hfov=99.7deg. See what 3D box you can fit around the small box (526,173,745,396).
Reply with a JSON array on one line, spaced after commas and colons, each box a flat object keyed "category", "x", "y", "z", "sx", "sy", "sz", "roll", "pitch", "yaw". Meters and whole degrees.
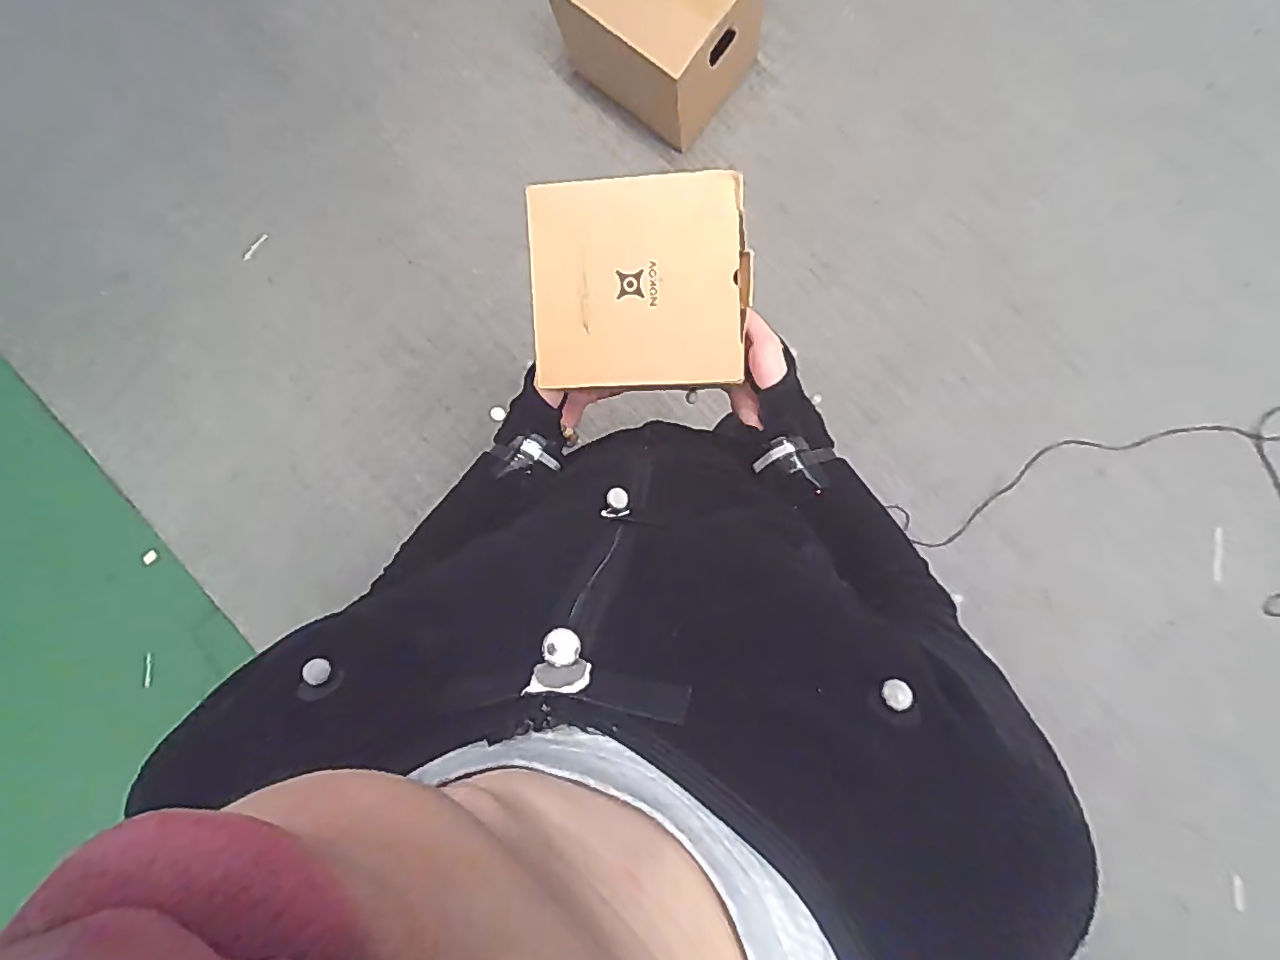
[{"category": "small box", "x": 0.005, "y": -0.168, "z": 0.520, "sx": 0.179, "sy": 0.176, "sz": 0.168, "roll": -2, "pitch": 96, "yaw": 8}]
